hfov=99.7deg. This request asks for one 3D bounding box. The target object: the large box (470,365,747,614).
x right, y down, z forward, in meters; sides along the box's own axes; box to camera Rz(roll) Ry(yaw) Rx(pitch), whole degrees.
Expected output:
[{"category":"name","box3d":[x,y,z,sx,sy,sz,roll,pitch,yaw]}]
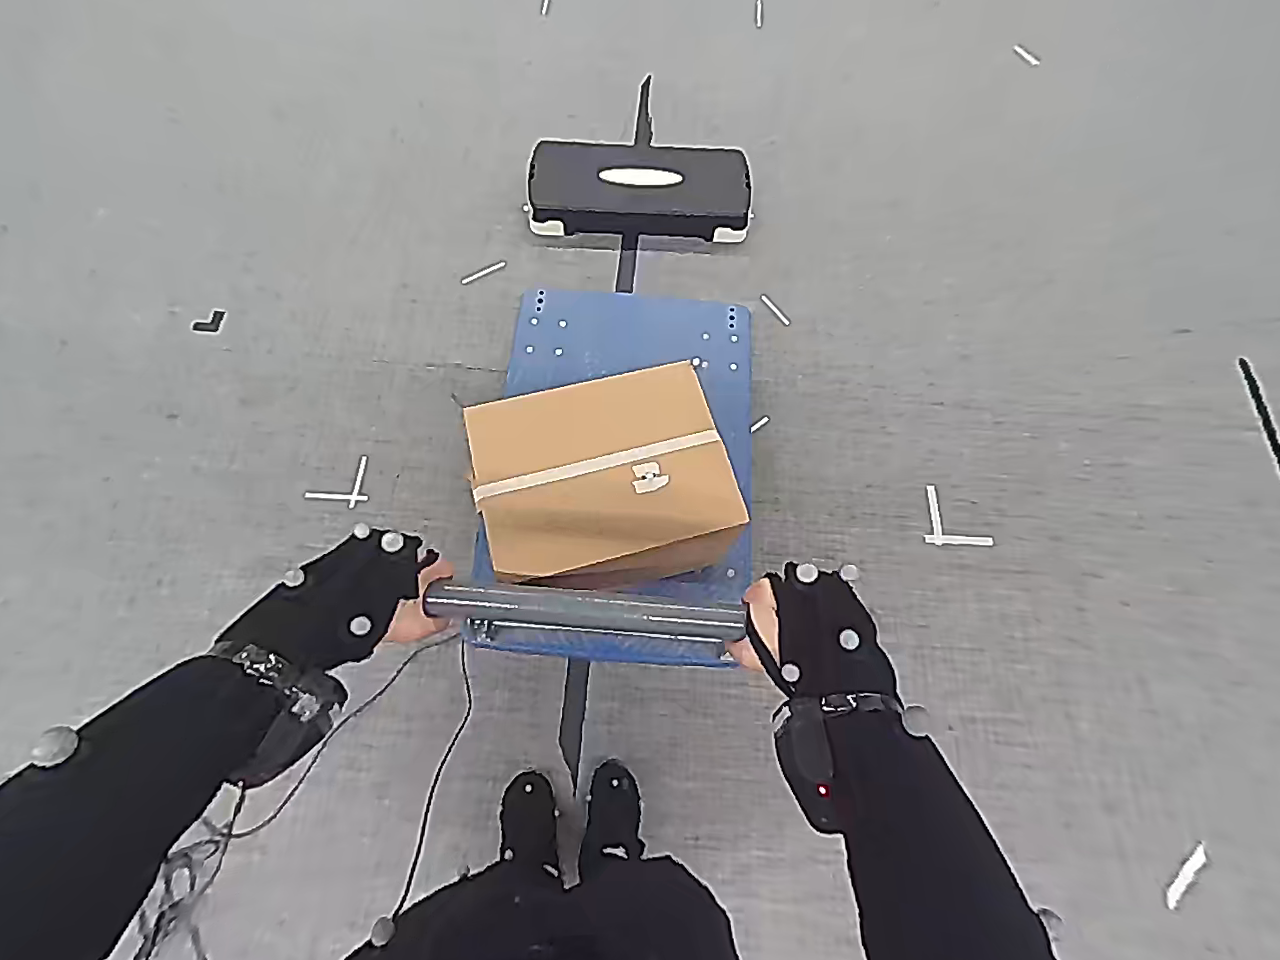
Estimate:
[{"category":"large box","box3d":[-0.066,0.032,1.024,0.408,0.320,0.320,-13,71,-9]}]
